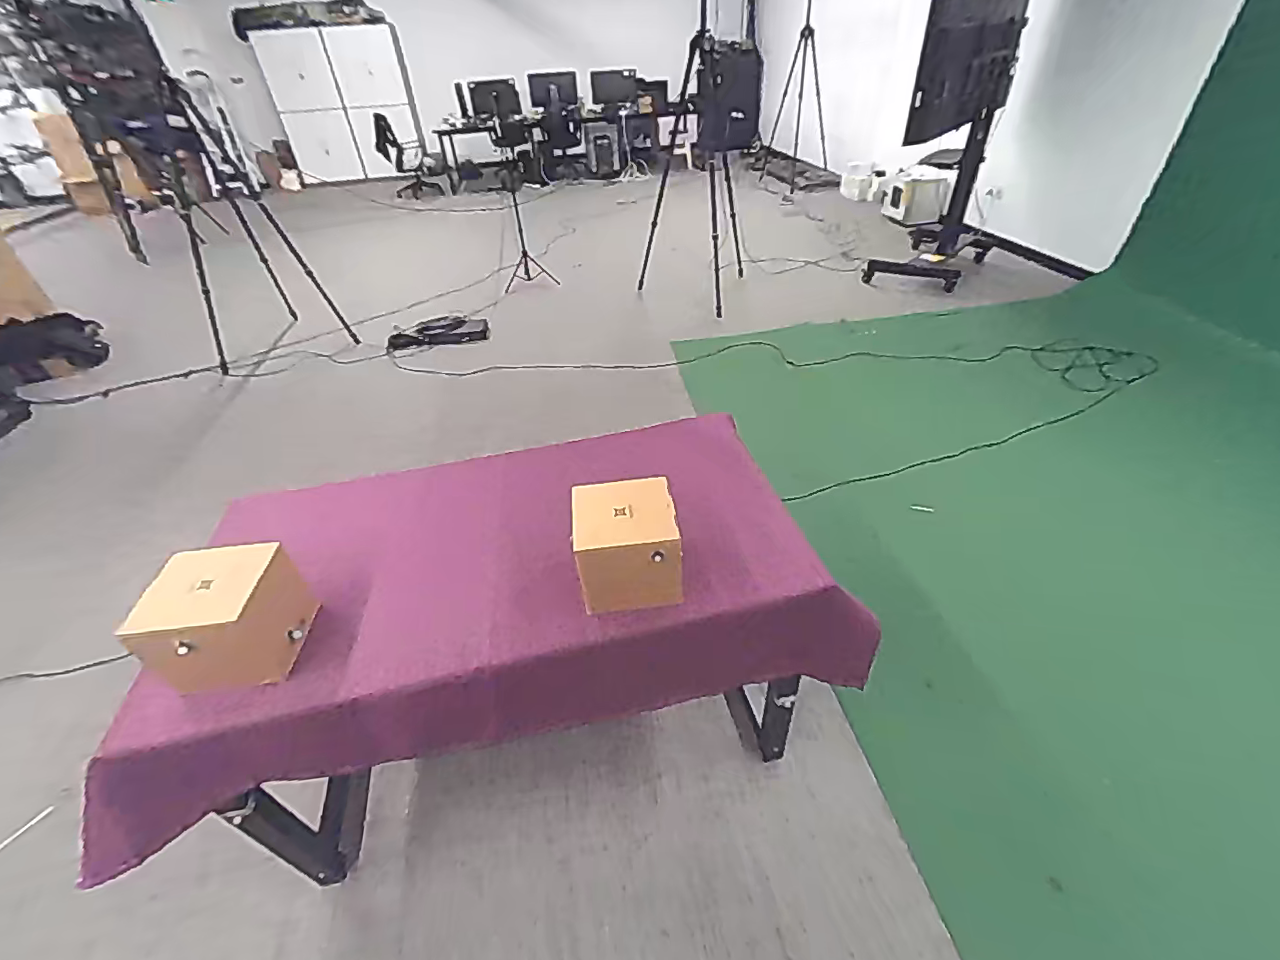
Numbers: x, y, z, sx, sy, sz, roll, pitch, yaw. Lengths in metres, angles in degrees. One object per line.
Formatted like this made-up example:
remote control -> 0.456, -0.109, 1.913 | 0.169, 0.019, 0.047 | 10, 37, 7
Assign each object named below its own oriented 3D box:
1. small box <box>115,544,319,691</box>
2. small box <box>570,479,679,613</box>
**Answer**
small box -> -0.679, 0.230, 0.896 | 0.179, 0.176, 0.168 | -5, 39, -3
small box -> -0.028, 0.121, 0.975 | 0.179, 0.176, 0.168 | -6, 39, -3
